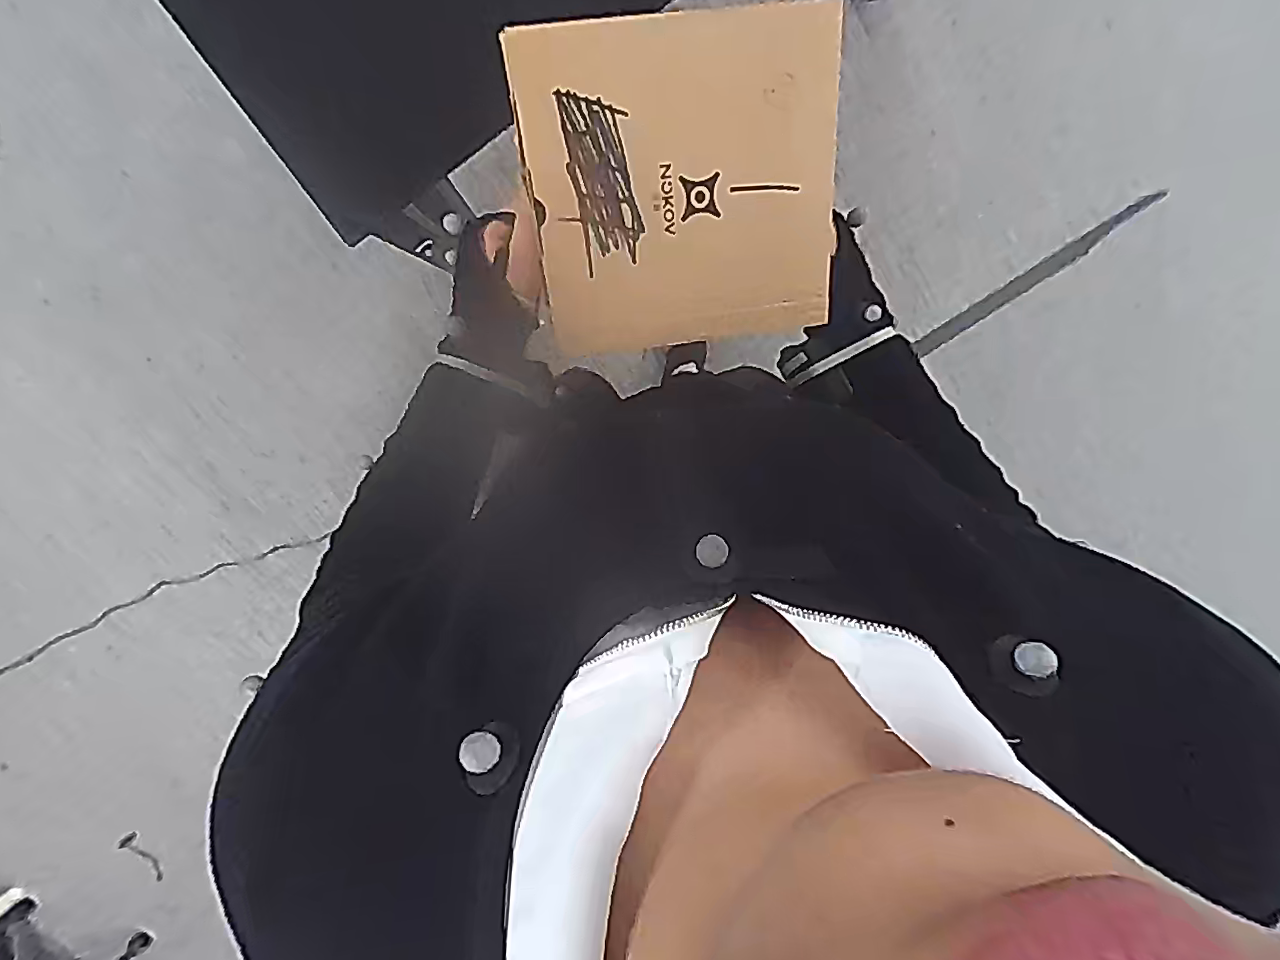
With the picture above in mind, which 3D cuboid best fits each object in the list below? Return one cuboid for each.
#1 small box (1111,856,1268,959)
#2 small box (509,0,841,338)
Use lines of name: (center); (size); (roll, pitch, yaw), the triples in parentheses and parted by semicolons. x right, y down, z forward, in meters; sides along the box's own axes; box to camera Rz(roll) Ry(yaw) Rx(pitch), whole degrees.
small box: (1.251, 1.022, 1.238); (0.168, 0.176, 0.179); (-35, 98, 3)
small box: (0.019, -0.205, 0.382); (0.179, 0.176, 0.168); (-8, 116, -3)
